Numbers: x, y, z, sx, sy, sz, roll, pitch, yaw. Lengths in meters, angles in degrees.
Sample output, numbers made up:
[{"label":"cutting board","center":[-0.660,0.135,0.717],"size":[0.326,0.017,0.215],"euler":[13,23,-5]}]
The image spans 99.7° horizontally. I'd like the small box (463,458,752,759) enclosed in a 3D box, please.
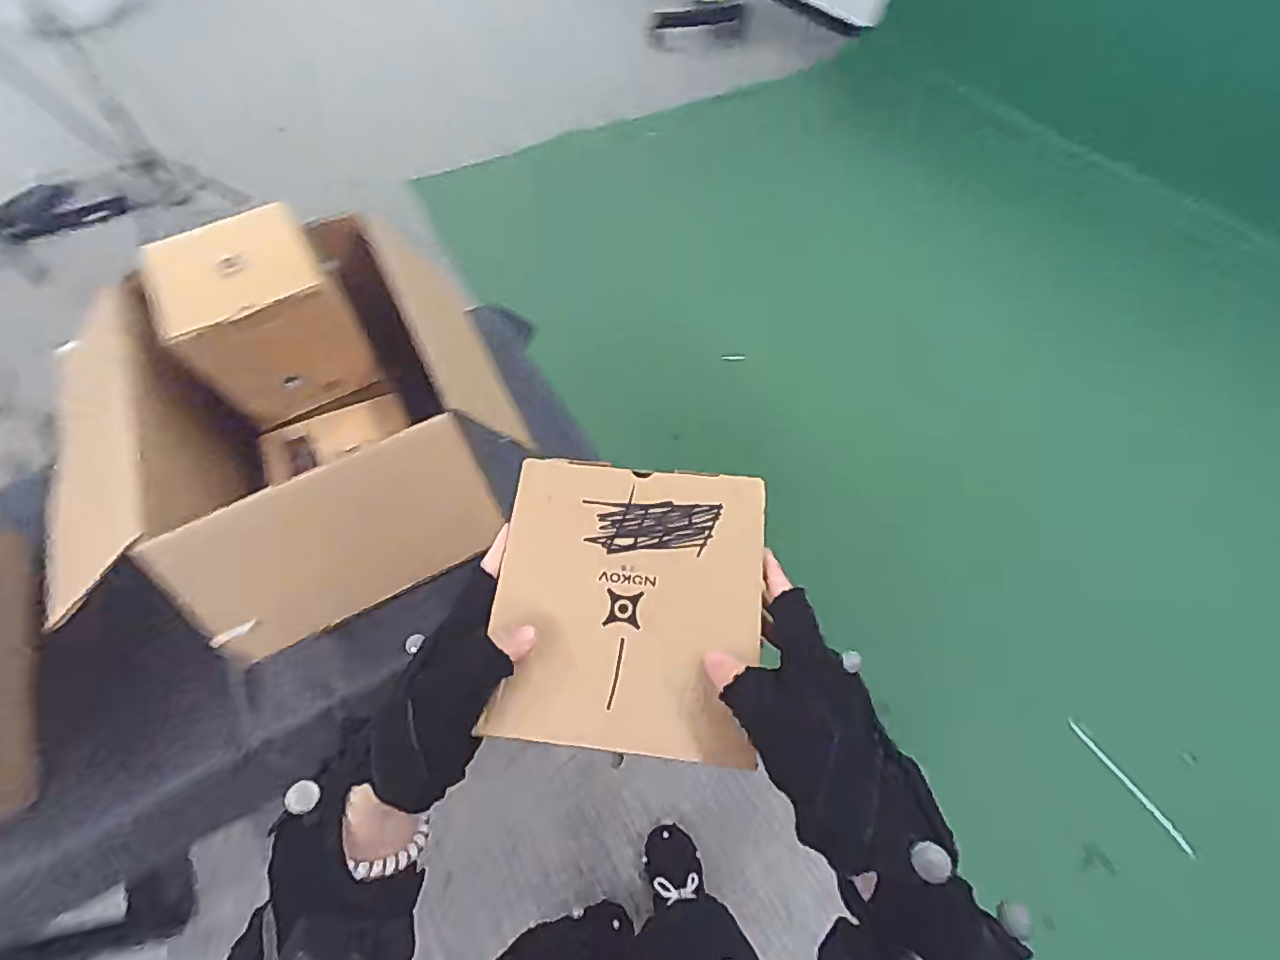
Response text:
[{"label":"small box","center":[-0.012,0.102,0.414],"size":[0.168,0.176,0.179],"euler":[5,67,5]}]
